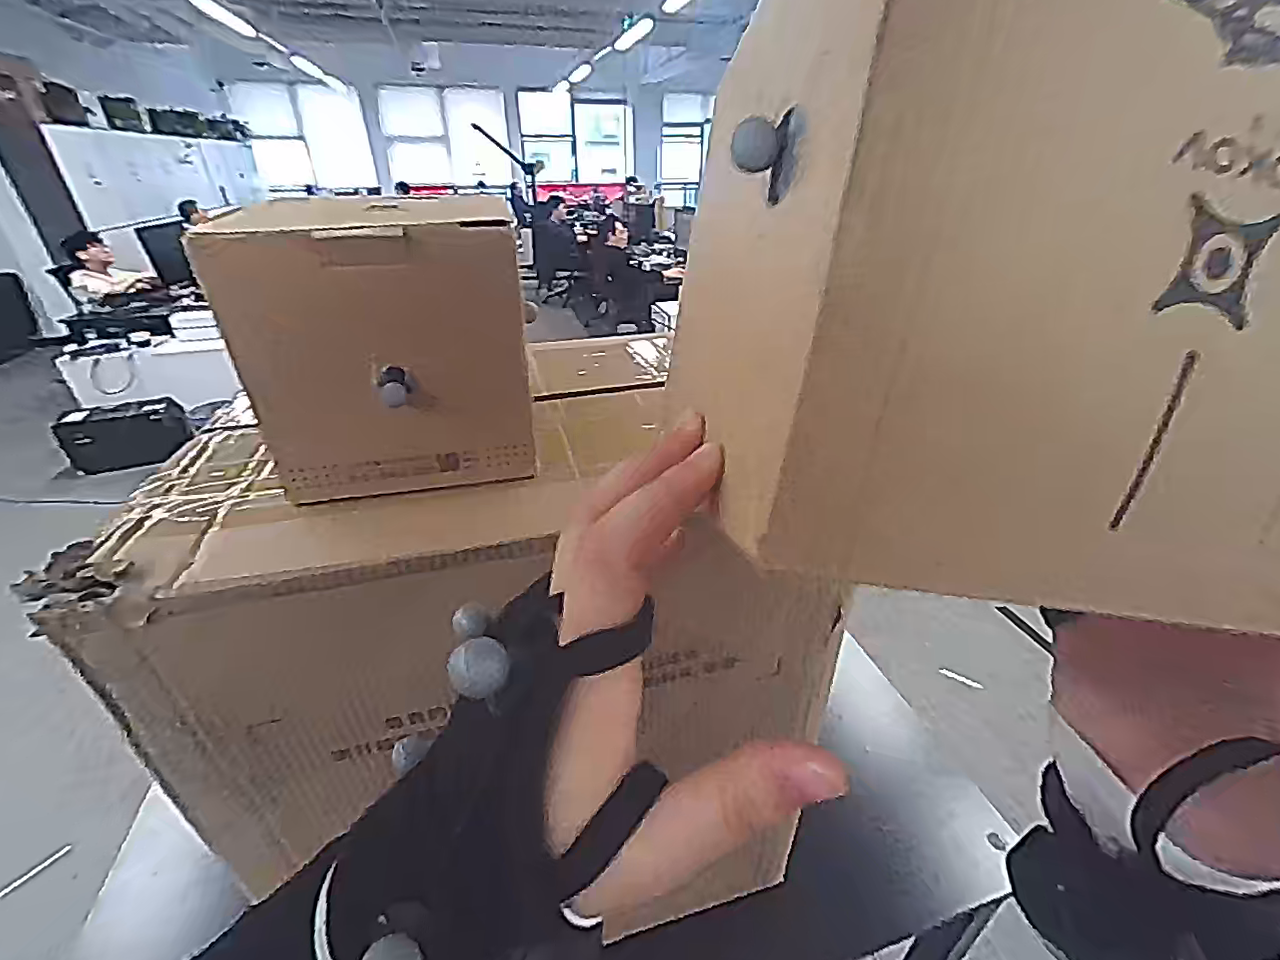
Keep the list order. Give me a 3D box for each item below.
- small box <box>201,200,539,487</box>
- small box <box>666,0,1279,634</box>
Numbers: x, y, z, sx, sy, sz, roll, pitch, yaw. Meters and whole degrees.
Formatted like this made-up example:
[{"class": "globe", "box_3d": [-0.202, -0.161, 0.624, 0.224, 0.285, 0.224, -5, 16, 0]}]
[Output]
[{"class": "small box", "box_3d": [-0.171, -0.105, 0.407, 0.168, 0.176, 0.179, -7, 34, -13]}, {"class": "small box", "box_3d": [0.111, -0.067, 0.205, 0.168, 0.179, 0.176, 9, 10, -7]}]
